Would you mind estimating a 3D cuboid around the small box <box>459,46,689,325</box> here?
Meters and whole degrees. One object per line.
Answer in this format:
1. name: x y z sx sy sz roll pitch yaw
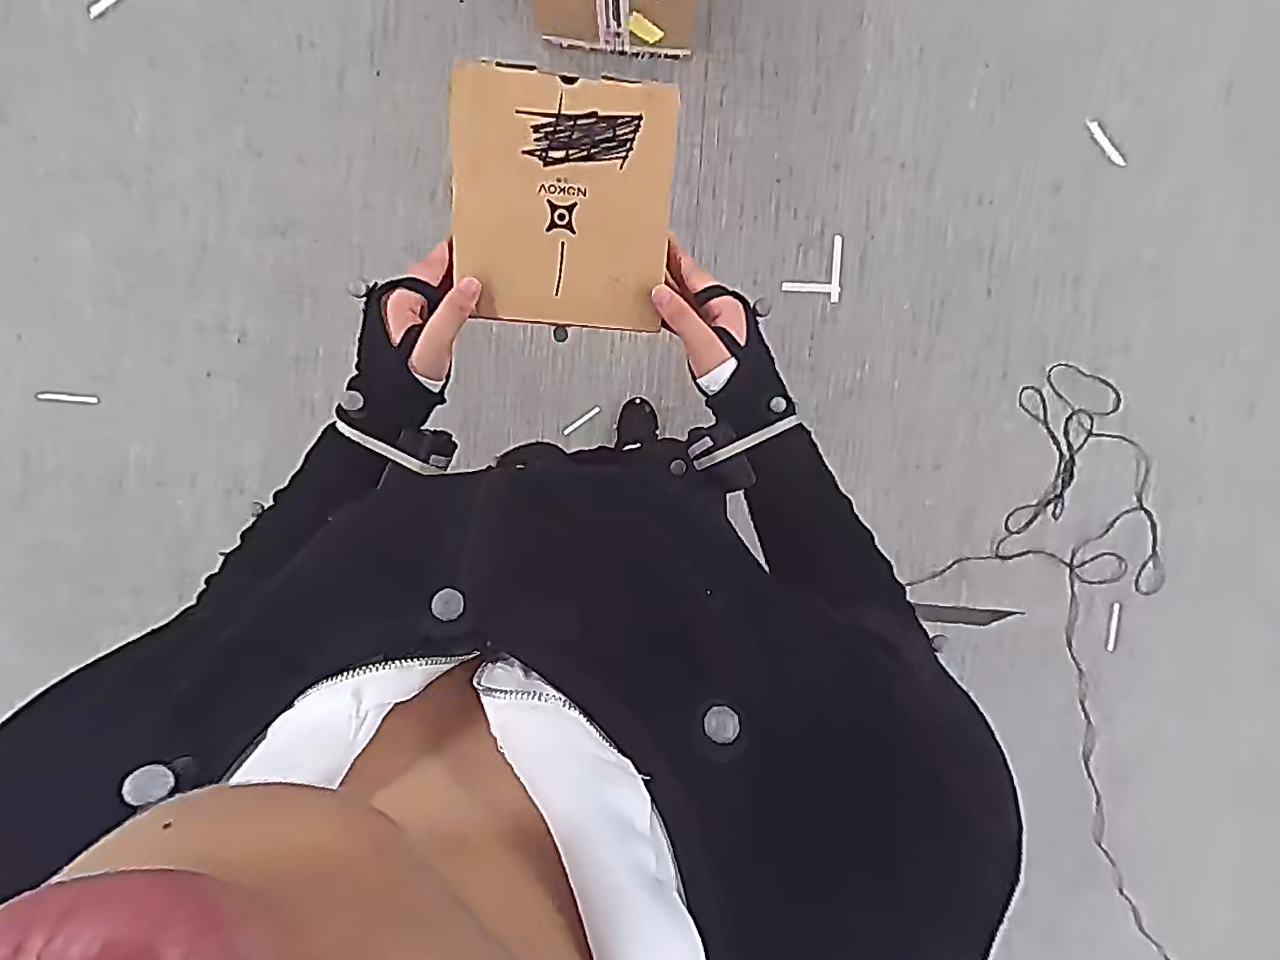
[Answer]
1. small box: -0.058 -0.238 0.485 0.168 0.176 0.179 4 106 -5
